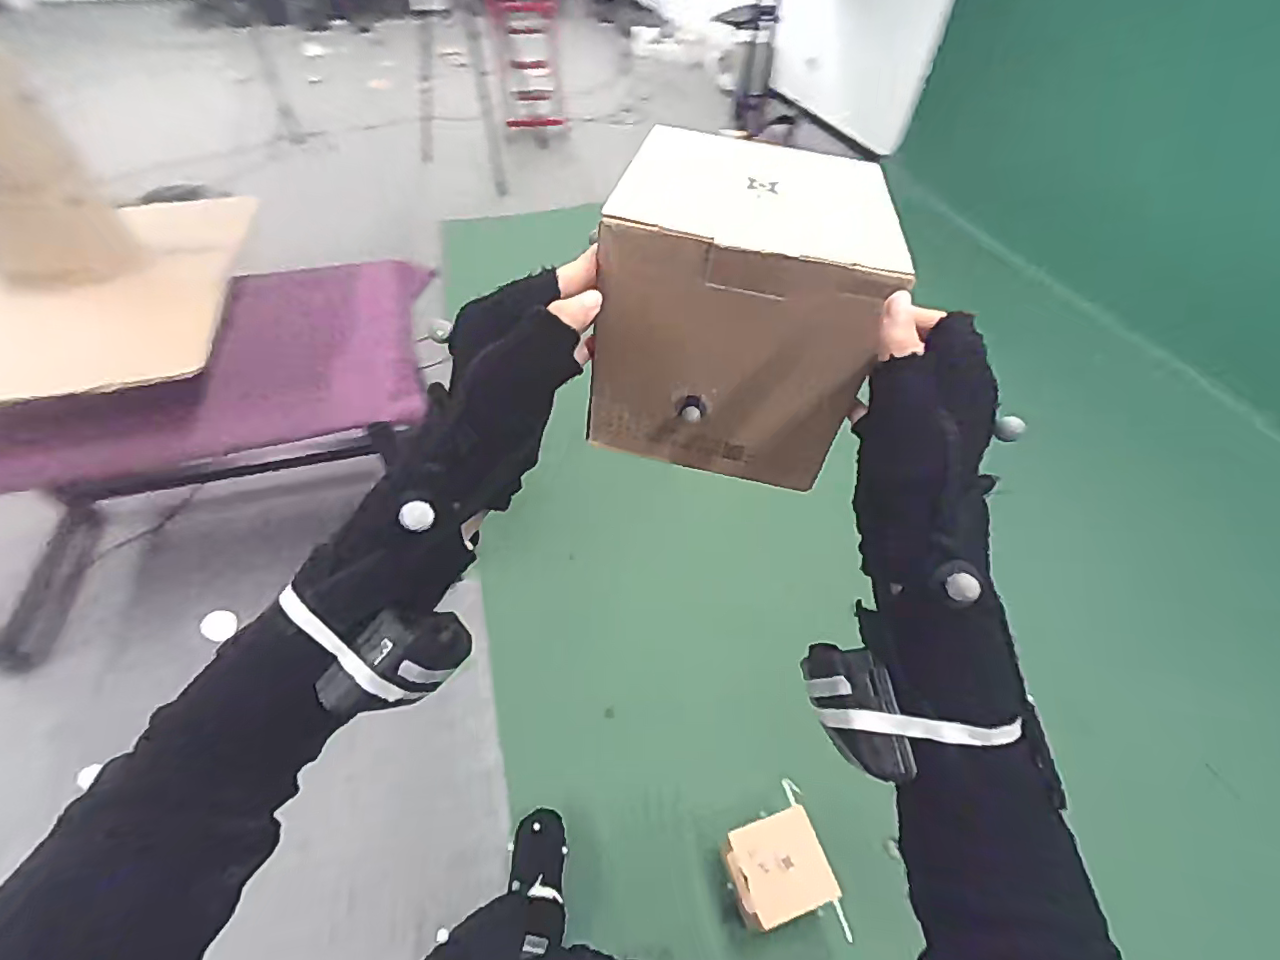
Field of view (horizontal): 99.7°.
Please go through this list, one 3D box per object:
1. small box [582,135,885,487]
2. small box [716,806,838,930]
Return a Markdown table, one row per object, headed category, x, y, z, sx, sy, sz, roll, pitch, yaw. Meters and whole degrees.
| category | x | y | z | sx | sy | sz | roll | pitch | yaw |
| --- | --- | --- | --- | --- | --- | --- | --- | --- | --- |
| small box | 0.055 | -0.124 | 0.402 | 0.168 | 0.176 | 0.179 | 12 | 48 | 2 |
| small box | 0.278 | 0.818 | 1.141 | 0.179 | 0.176 | 0.168 | -12 | 51 | -12 |
